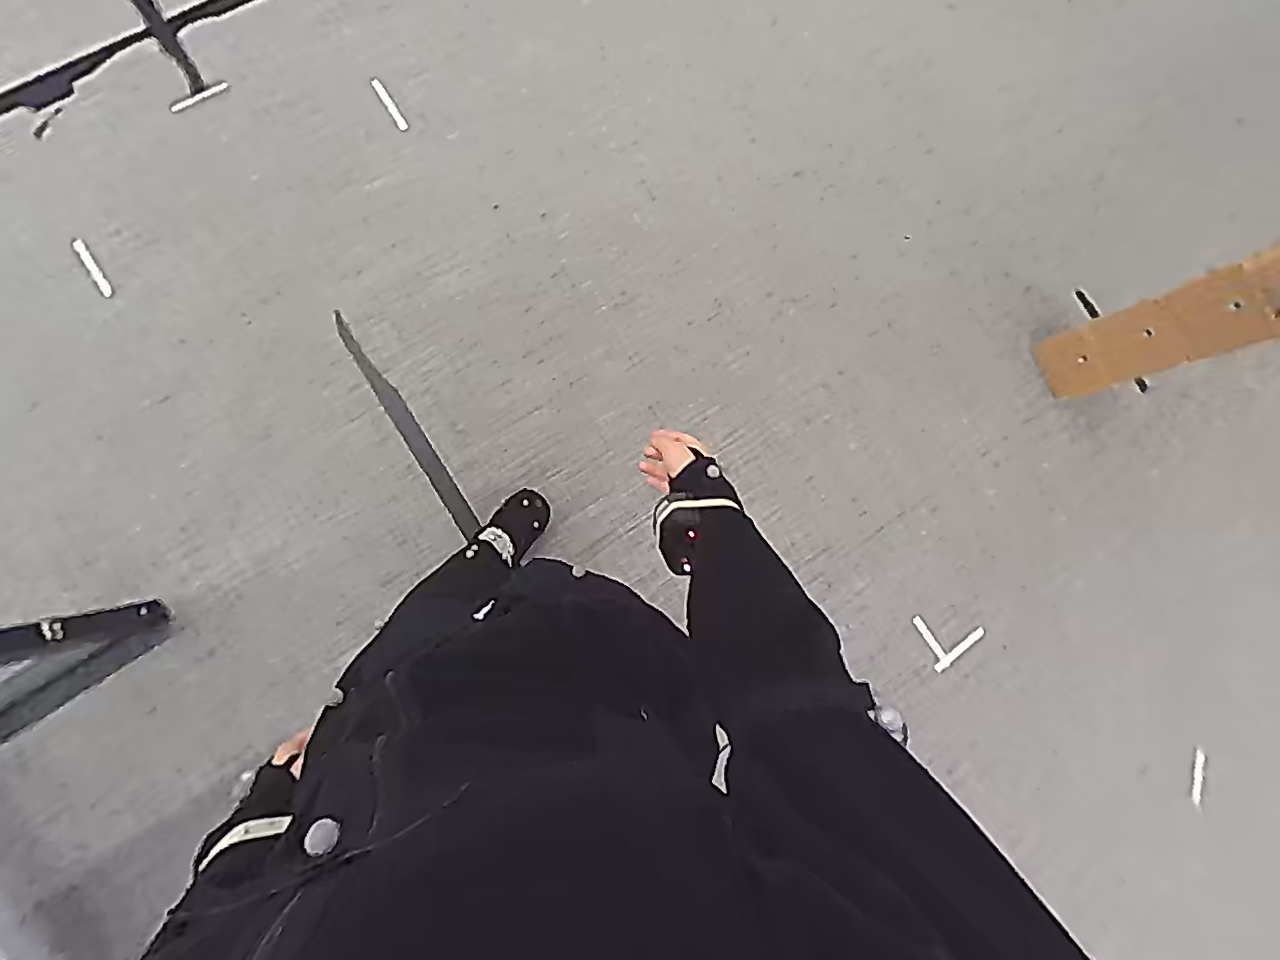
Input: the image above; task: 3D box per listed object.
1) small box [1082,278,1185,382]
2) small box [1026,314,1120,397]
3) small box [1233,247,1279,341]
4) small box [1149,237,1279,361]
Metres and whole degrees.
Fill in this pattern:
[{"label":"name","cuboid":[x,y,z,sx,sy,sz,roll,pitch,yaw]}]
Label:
[{"label":"small box","cuboid":[1.264,-0.367,1.344,0.168,0.176,0.179,-23,87,-8]},{"label":"small box","cuboid":[1.237,-0.346,1.505,0.168,0.176,0.179,-26,88,-8]},{"label":"small box","cuboid":[1.312,-0.391,1.023,0.179,0.176,0.168,-26,87,-7]},{"label":"small box","cuboid":[1.289,-0.387,1.186,0.168,0.176,0.179,-26,88,-8]}]
